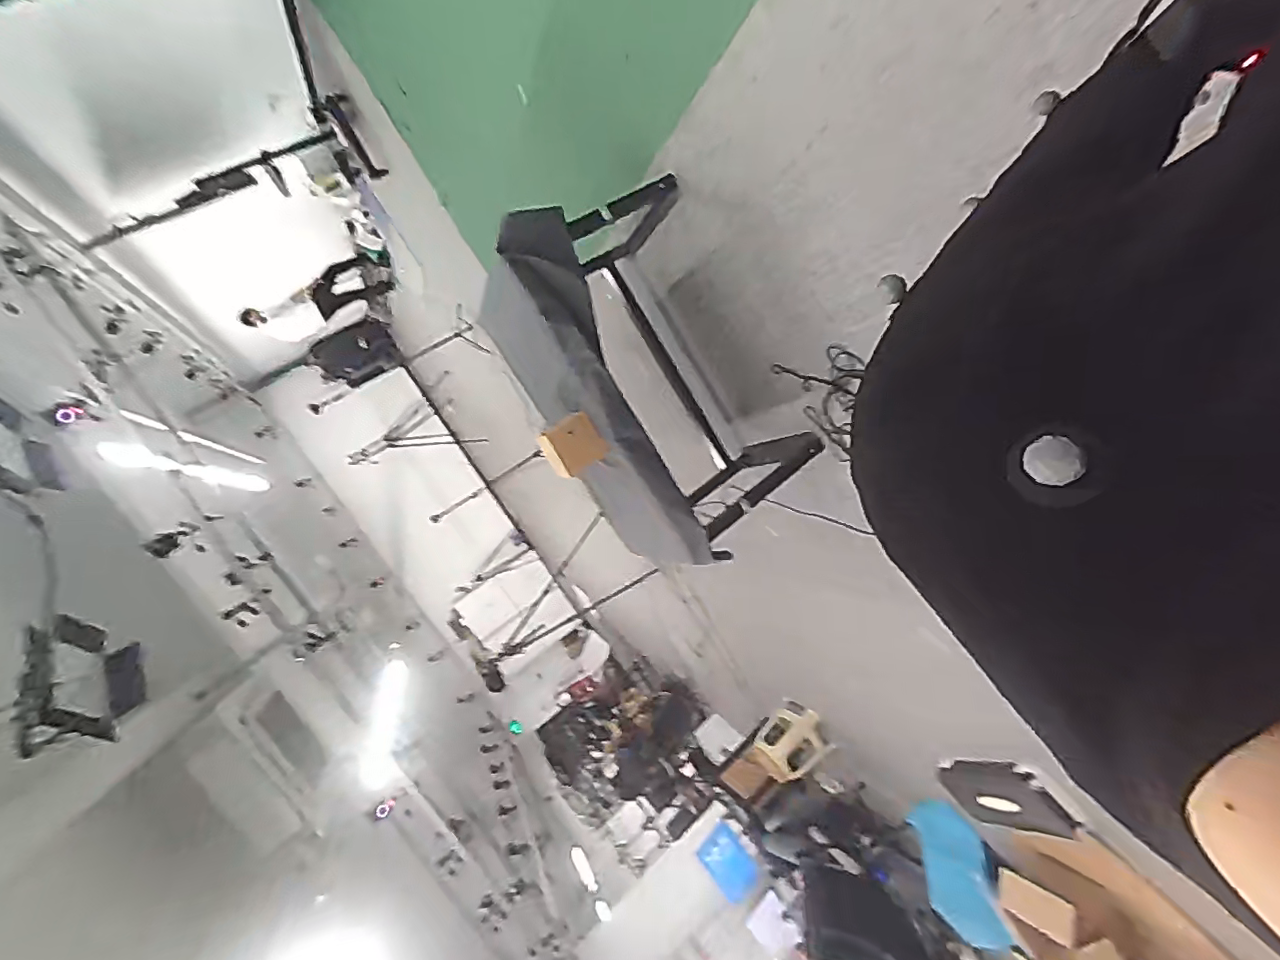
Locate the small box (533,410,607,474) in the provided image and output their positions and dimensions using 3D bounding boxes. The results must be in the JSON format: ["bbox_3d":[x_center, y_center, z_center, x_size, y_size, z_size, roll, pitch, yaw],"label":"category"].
[{"bbox_3d":[-0.249,-0.140,1.925,0.179,0.176,0.168,60,161,-16],"label":"small box"}]
